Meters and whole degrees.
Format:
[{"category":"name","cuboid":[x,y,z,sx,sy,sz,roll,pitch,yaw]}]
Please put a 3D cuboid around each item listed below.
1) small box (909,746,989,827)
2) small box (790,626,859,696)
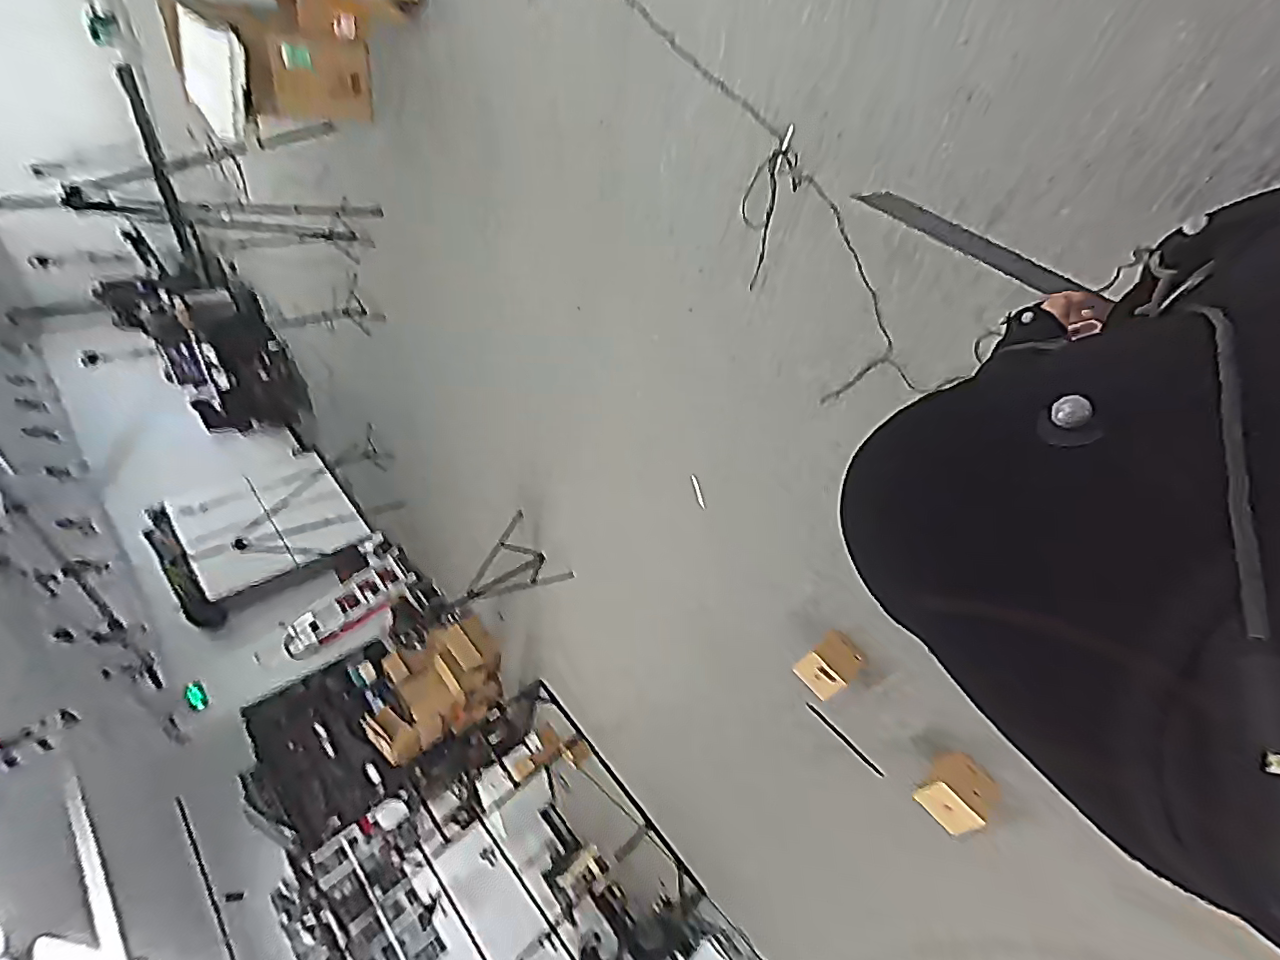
[{"category":"small box","cuboid":[1.110,1.091,1.932,0.168,0.176,0.179,44,139,22]},{"category":"small box","cuboid":[0.734,0.709,2.136,0.168,0.176,0.179,46,140,22]}]
